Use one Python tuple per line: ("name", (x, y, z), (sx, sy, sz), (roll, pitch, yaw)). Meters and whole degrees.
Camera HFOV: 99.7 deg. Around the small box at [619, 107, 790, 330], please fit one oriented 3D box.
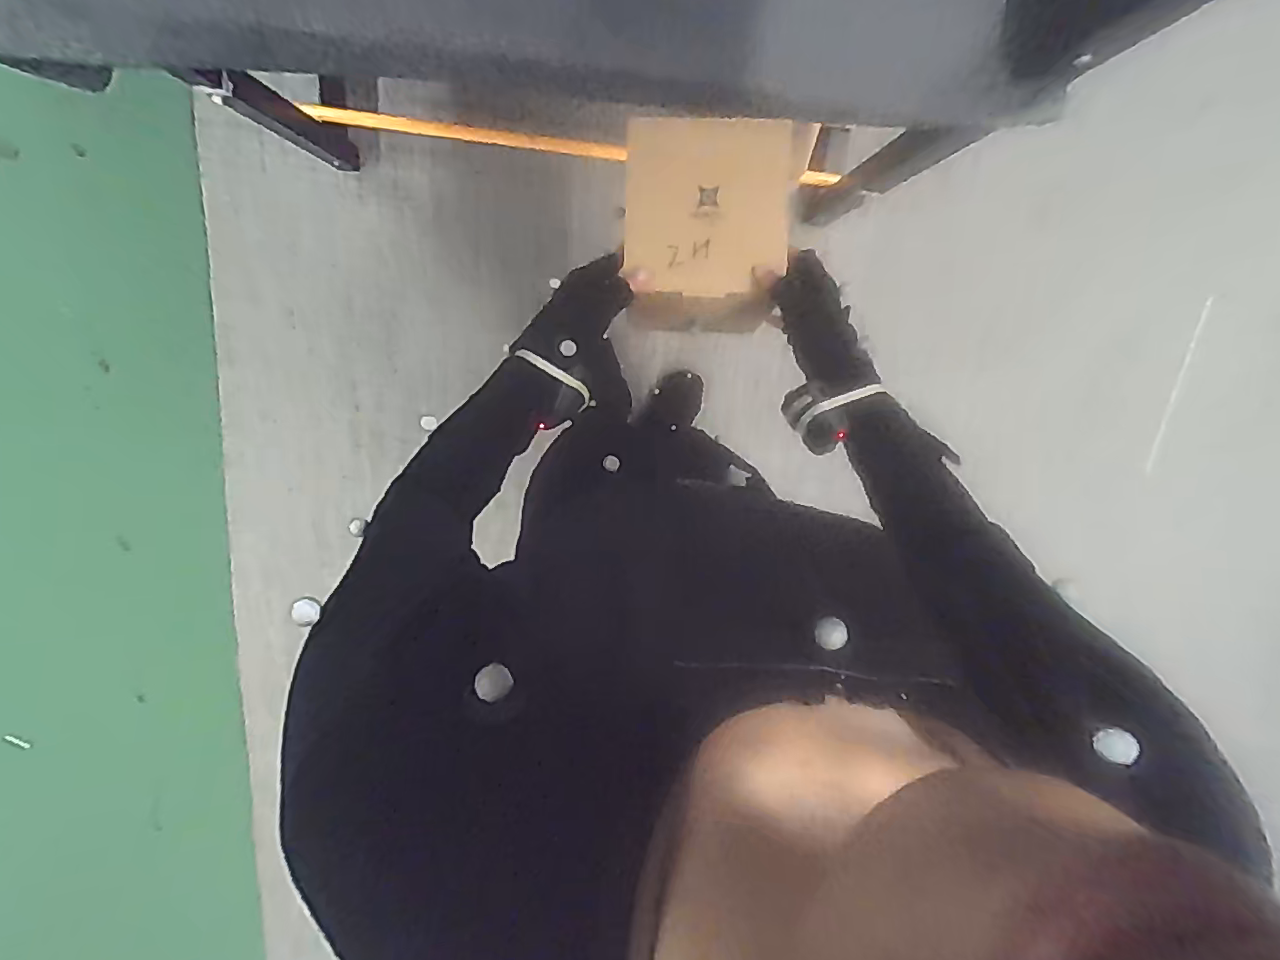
("small box", (0.065, -0.281, 0.614), (0.168, 0.176, 0.179), (2, 93, 2))
